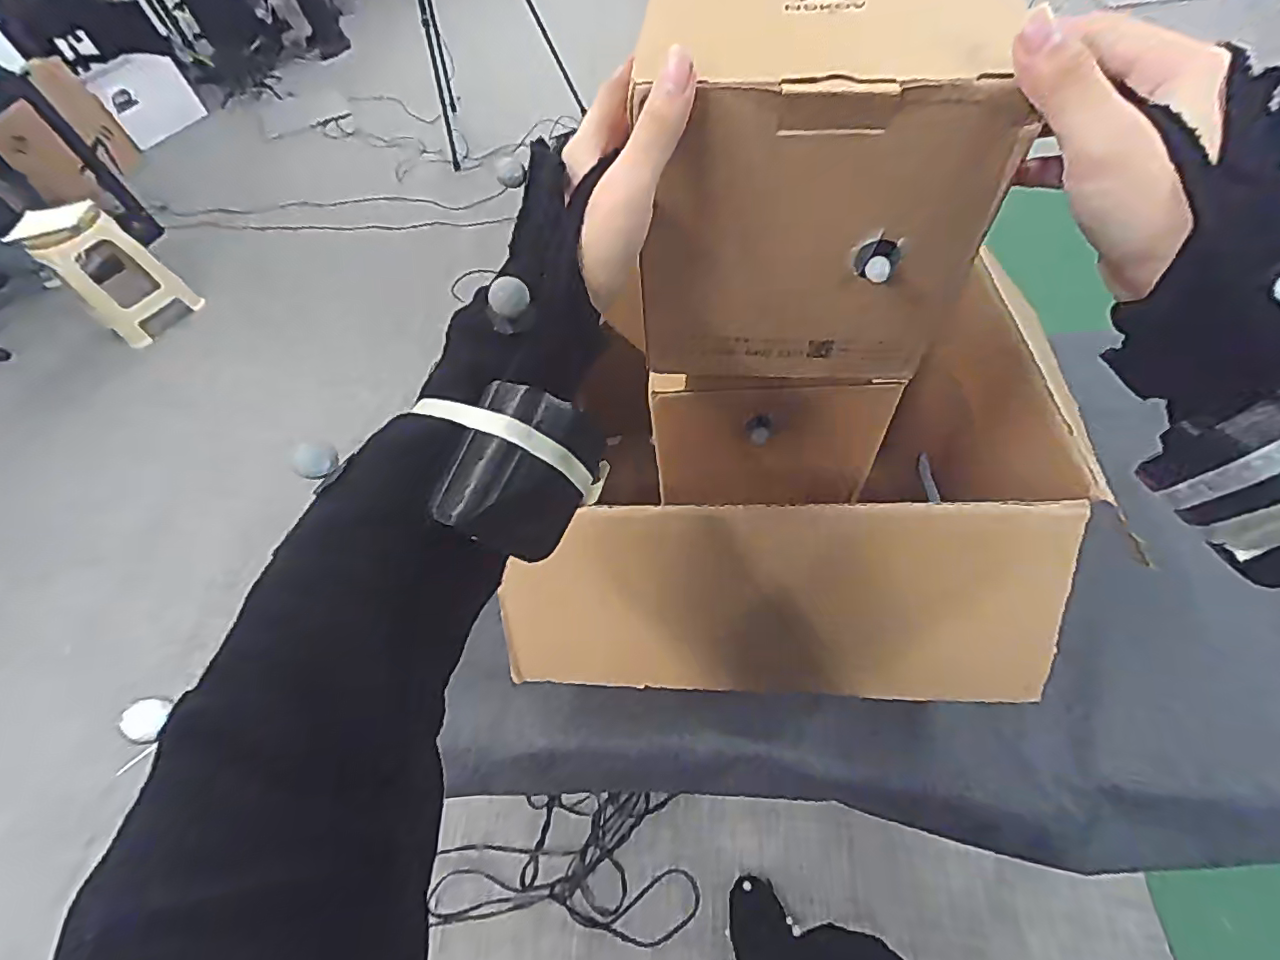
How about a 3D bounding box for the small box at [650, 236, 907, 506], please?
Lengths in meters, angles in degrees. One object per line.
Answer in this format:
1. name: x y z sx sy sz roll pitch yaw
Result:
1. small box: 0.105 -0.087 0.478 0.179 0.176 0.168 -1 56 7
